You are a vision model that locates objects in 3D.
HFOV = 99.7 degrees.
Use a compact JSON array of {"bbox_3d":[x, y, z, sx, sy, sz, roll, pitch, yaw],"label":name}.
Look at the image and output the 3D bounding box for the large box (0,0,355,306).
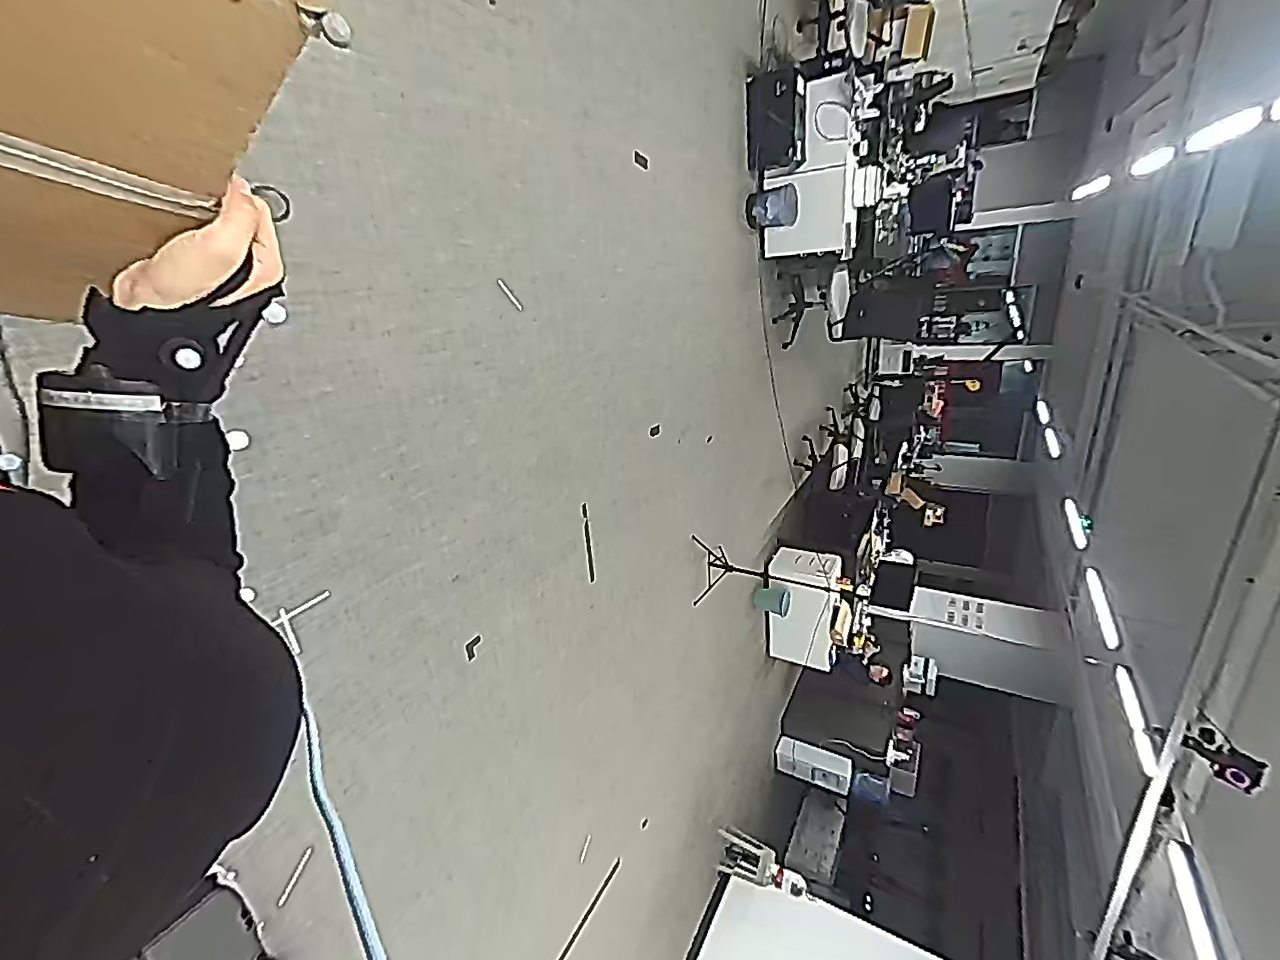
[{"bbox_3d":[-0.387,-0.309,0.180,0.408,0.320,0.320,-6,76,-56],"label":"large box"}]
